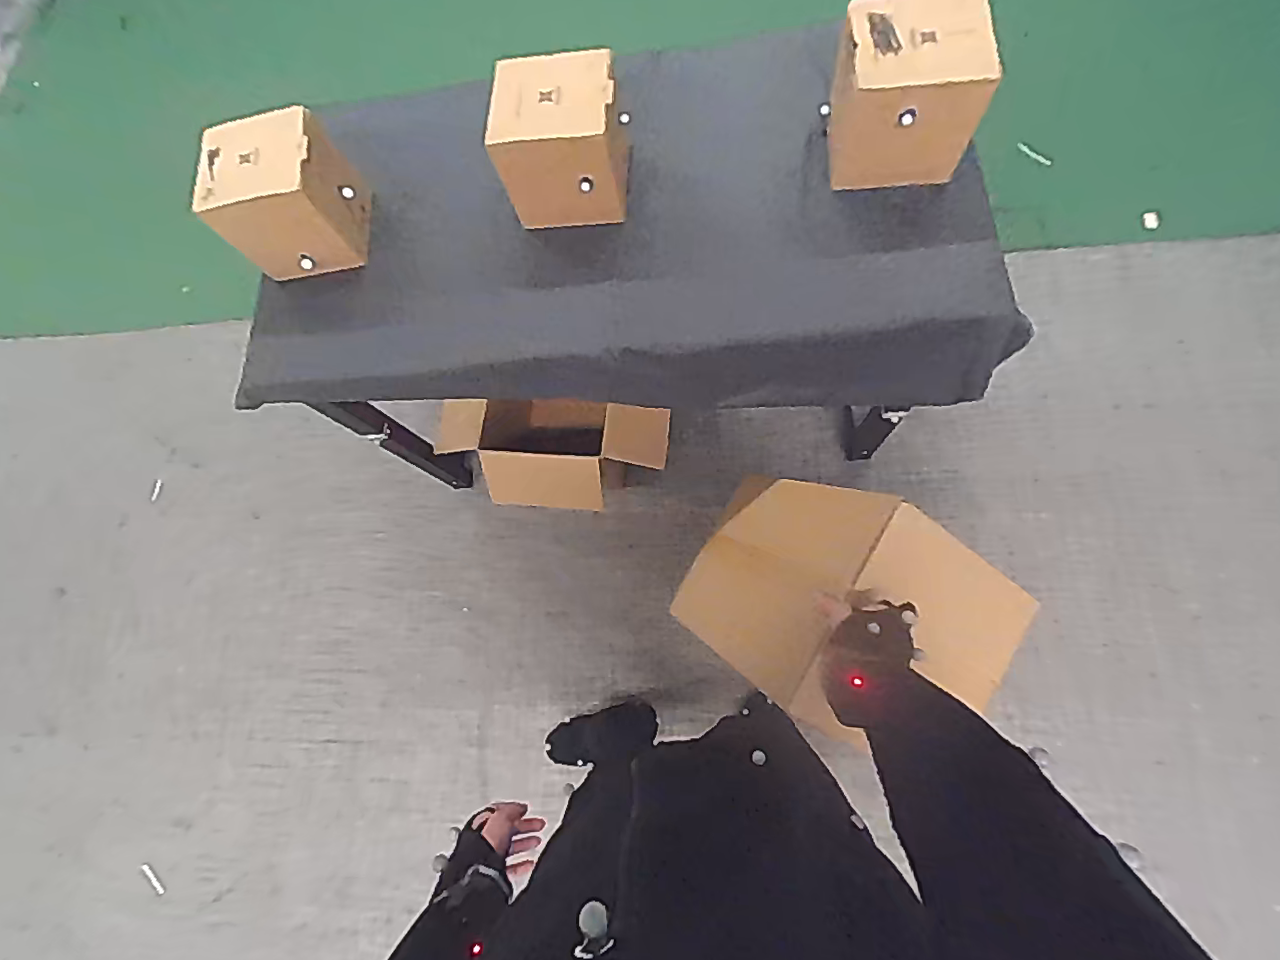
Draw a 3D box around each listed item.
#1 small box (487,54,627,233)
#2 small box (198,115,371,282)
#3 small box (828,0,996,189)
[{"bbox_3d":[-0.119,-0.520,0.855,0.179,0.176,0.168,-1,72,9],"label":"small box"},{"bbox_3d":[-0.575,-0.457,0.899,0.179,0.176,0.168,-8,72,5],"label":"small box"},{"bbox_3d":[0.377,-0.554,0.788,0.179,0.176,0.168,0,74,8],"label":"small box"}]
